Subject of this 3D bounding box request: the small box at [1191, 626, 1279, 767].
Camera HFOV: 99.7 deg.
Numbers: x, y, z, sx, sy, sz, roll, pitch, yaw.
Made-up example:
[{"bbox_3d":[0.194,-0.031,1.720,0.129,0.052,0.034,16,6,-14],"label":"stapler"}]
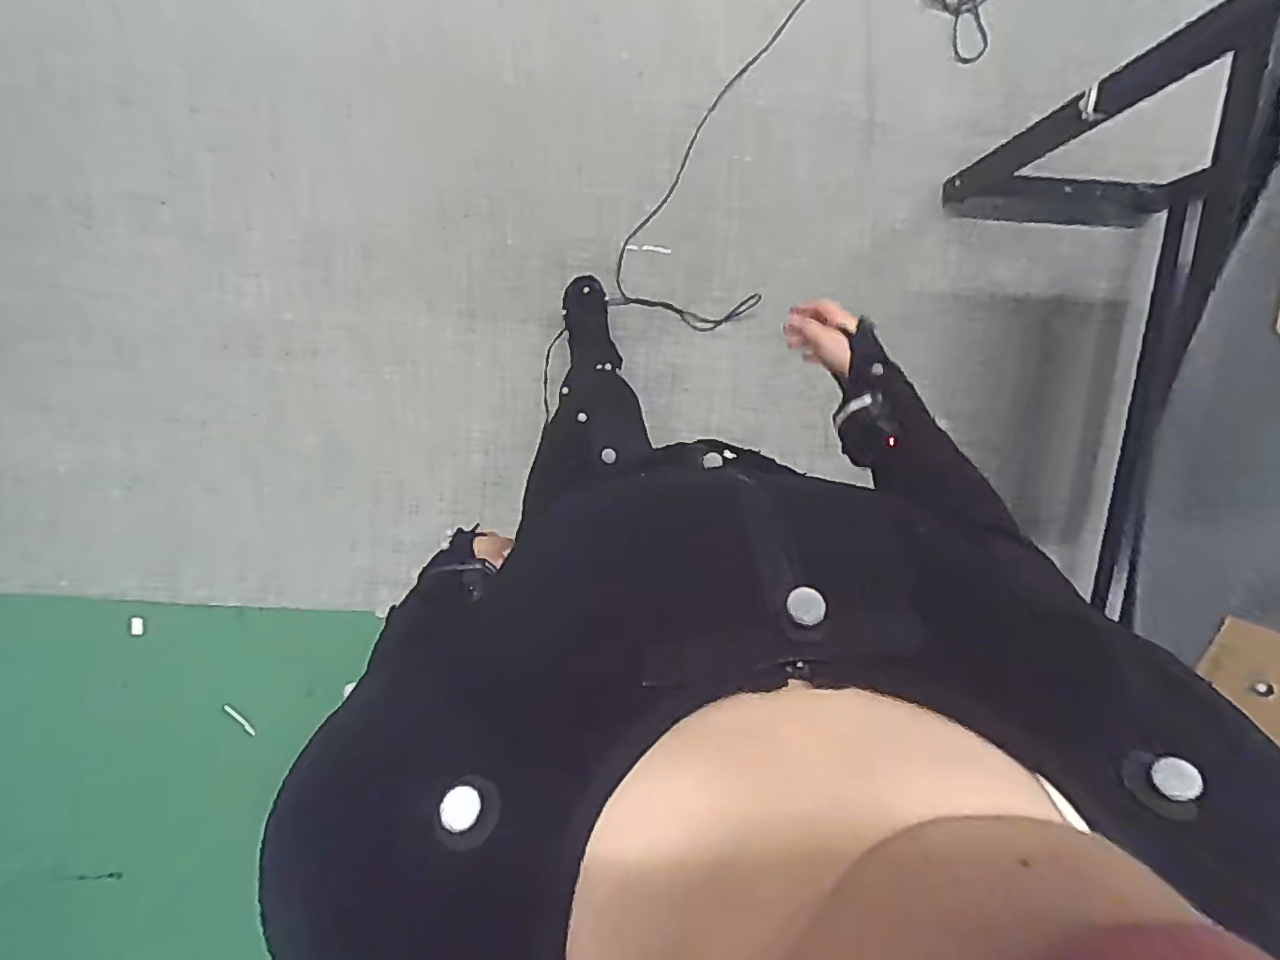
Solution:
[{"bbox_3d":[0.912,0.316,0.715,0.179,0.176,0.168,22,97,-8],"label":"small box"}]
